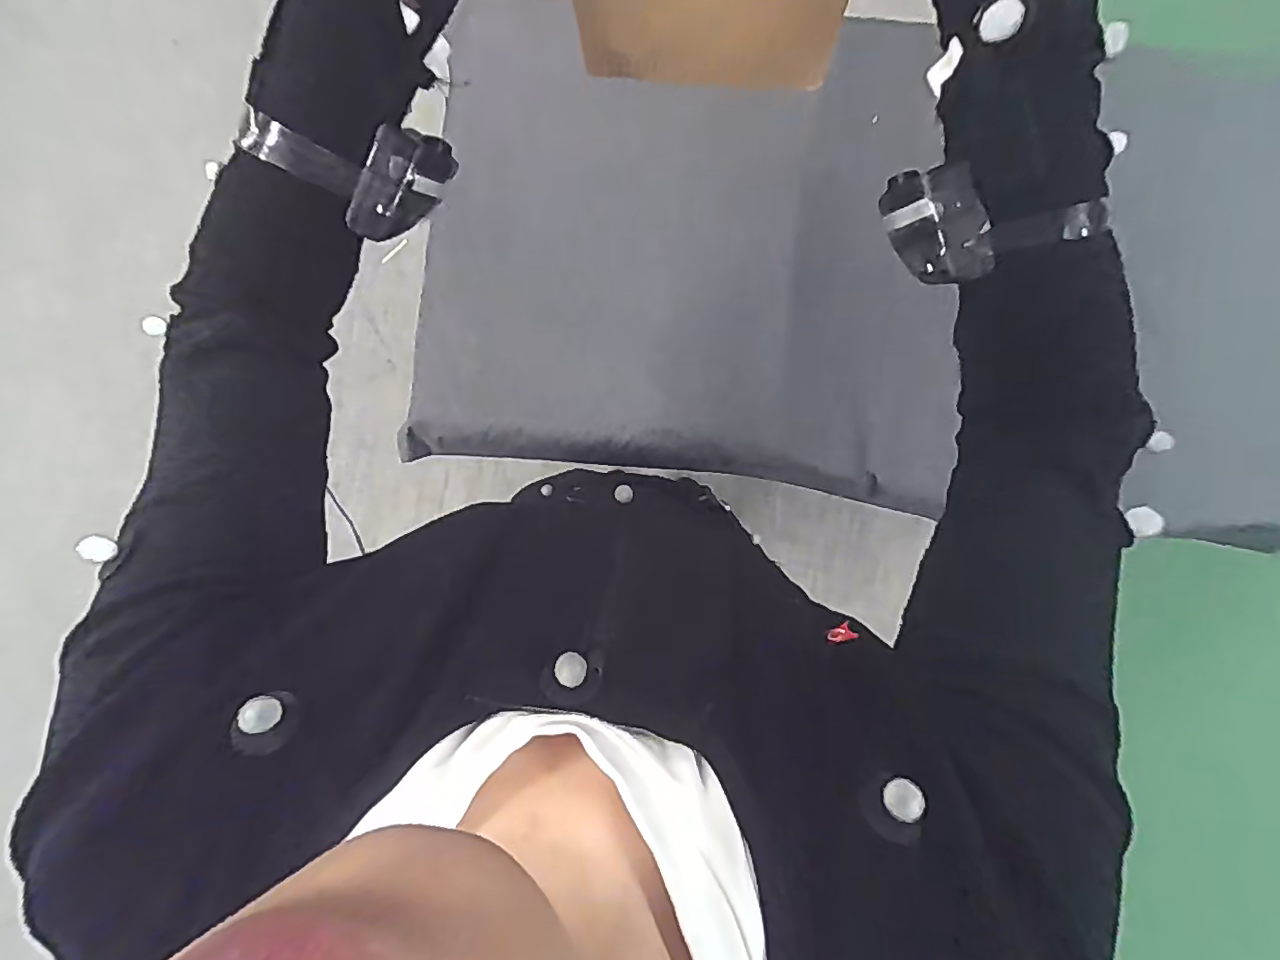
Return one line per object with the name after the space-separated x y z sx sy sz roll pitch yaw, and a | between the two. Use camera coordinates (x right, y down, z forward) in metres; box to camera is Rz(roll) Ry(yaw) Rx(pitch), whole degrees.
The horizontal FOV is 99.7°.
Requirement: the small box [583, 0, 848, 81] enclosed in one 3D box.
0.053 -0.381 0.323 0.179 0.176 0.168 7 85 4 | small box
